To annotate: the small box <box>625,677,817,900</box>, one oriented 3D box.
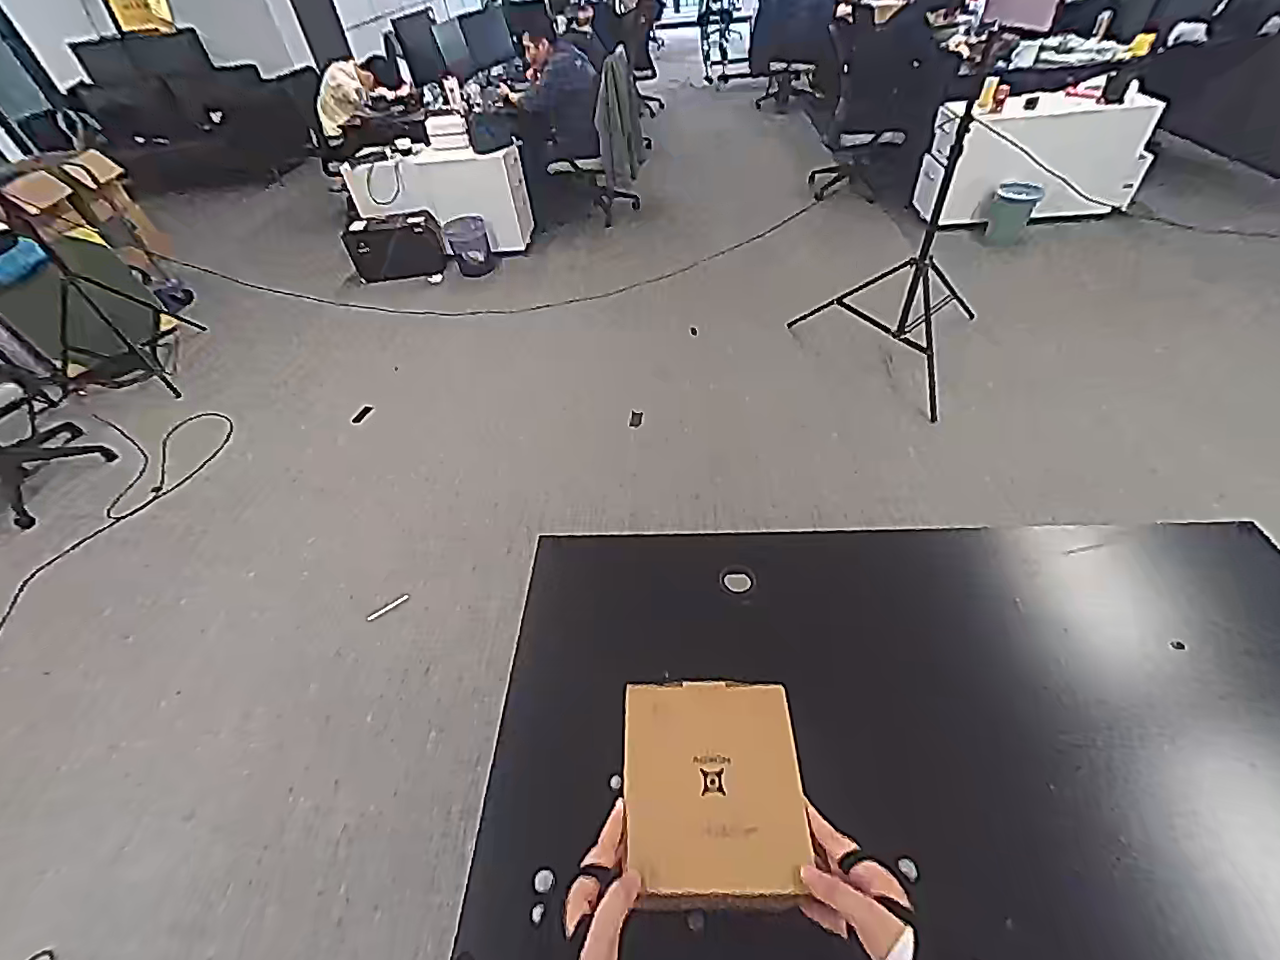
[{"bbox_3d":[0.069,0.325,0.570,0.168,0.176,0.179,-1,49,0],"label":"small box"}]
